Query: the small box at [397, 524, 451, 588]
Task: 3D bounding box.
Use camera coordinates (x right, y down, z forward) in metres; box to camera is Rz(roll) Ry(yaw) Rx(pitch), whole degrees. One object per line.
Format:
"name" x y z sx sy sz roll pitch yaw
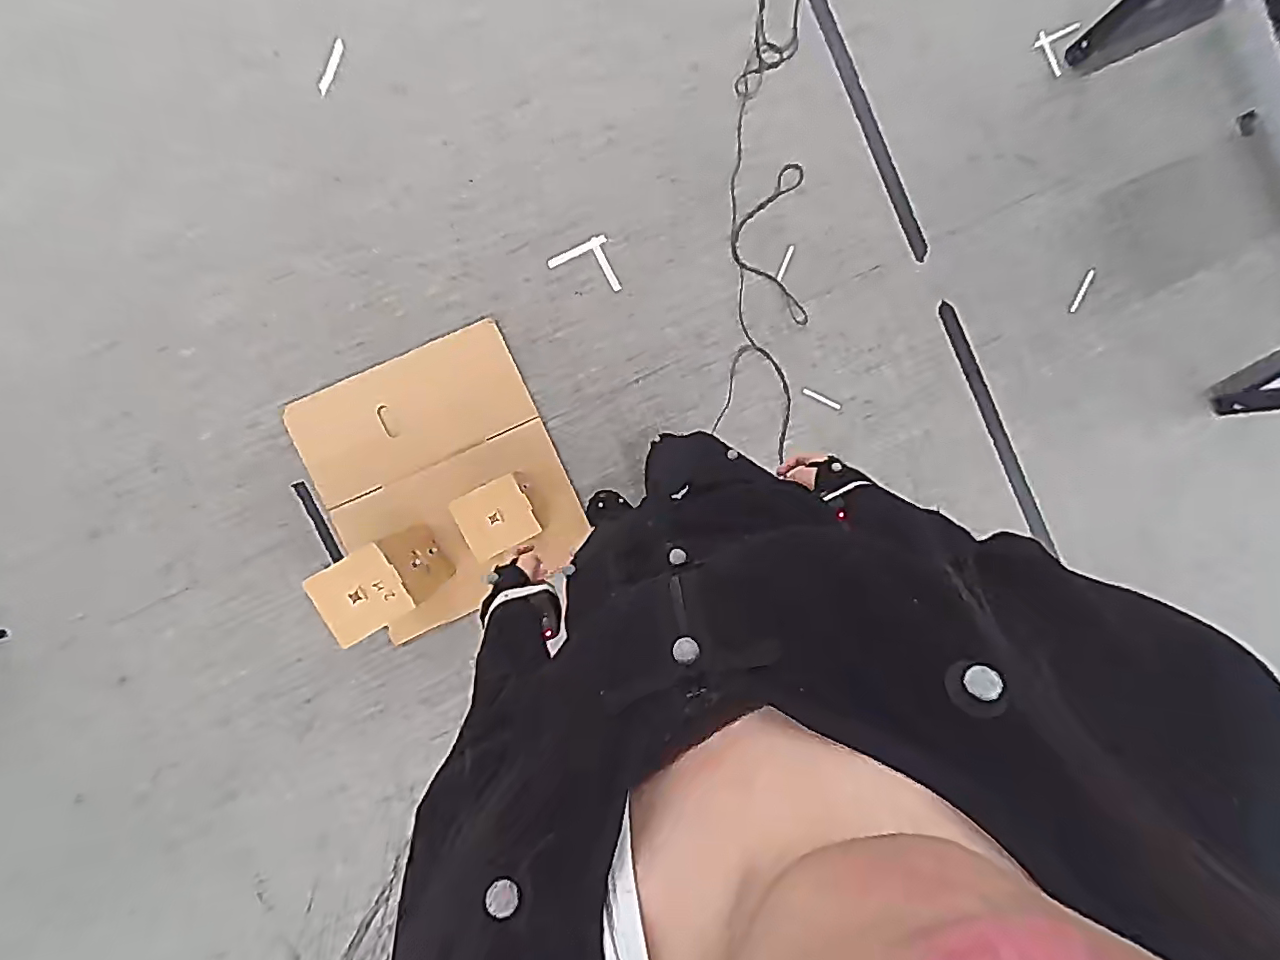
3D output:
"small box" -0.596 0.223 1.354 0.179 0.176 0.168 -32 93 -4

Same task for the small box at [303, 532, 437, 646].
"small box" -0.581 0.231 1.190 0.179 0.176 0.168 -31 94 -4

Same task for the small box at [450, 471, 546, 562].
"small box" -0.350 0.086 1.374 0.179 0.176 0.168 -28 93 -3
